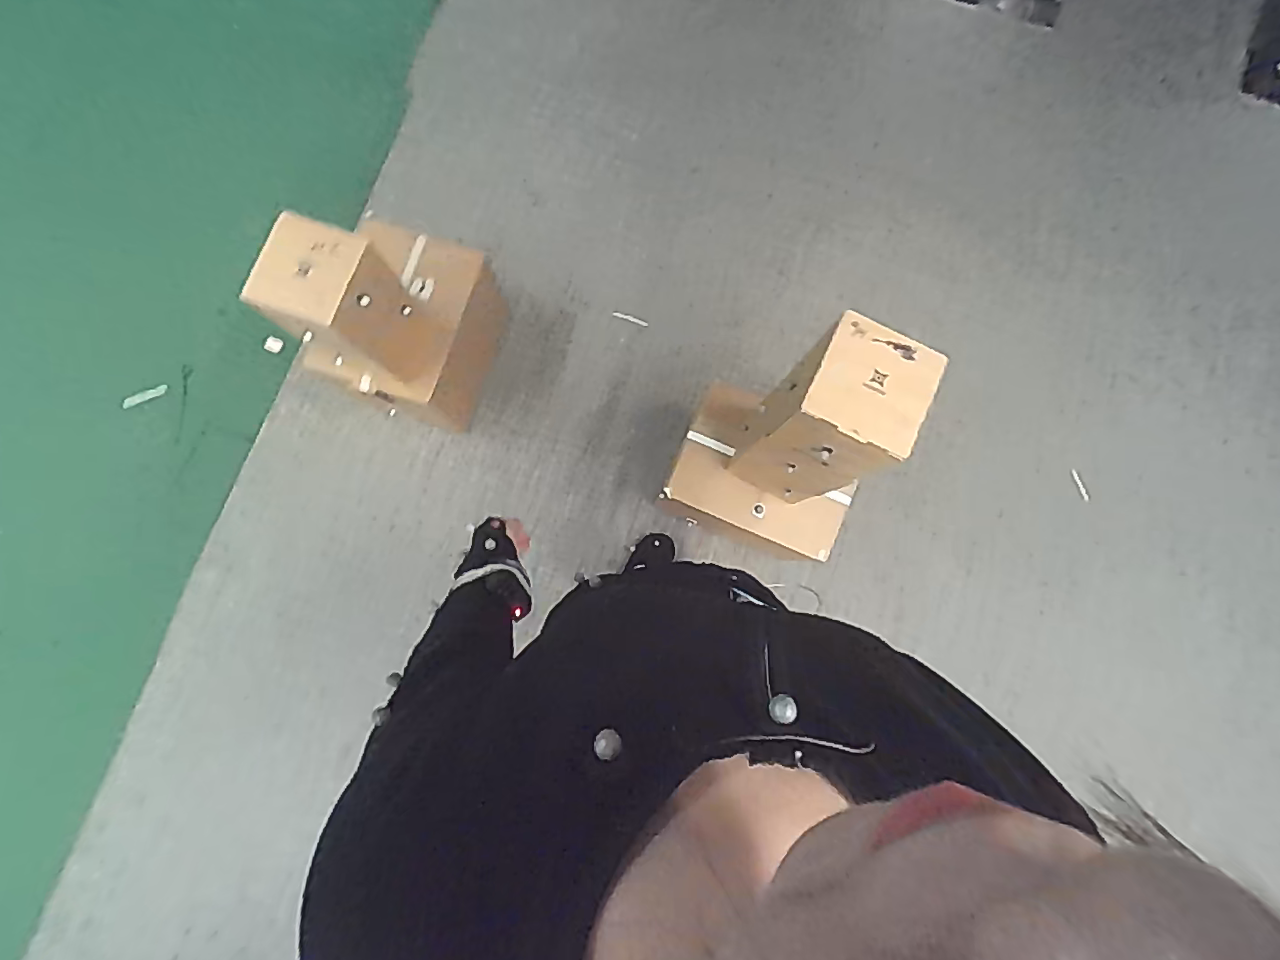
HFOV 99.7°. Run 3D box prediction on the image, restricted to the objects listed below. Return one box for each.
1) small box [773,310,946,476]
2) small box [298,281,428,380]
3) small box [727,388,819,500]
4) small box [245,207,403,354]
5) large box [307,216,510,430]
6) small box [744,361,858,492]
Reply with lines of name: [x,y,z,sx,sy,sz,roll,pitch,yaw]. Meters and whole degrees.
small box: [0.327,-0.122,0.845,0.168,0.176,0.179,28,80,1]
small box: [-0.588,-0.341,1.175,0.168,0.176,0.179,20,80,1]
small box: [0.311,-0.067,1.169,0.179,0.176,0.168,28,80,2]
small box: [-0.574,-0.361,1.012,0.168,0.176,0.179,20,81,0]
large box: [-0.581,-0.390,1.429,0.320,0.320,0.408,18,80,1]
small box: [0.319,-0.091,1.006,0.179,0.176,0.168,29,79,3]
